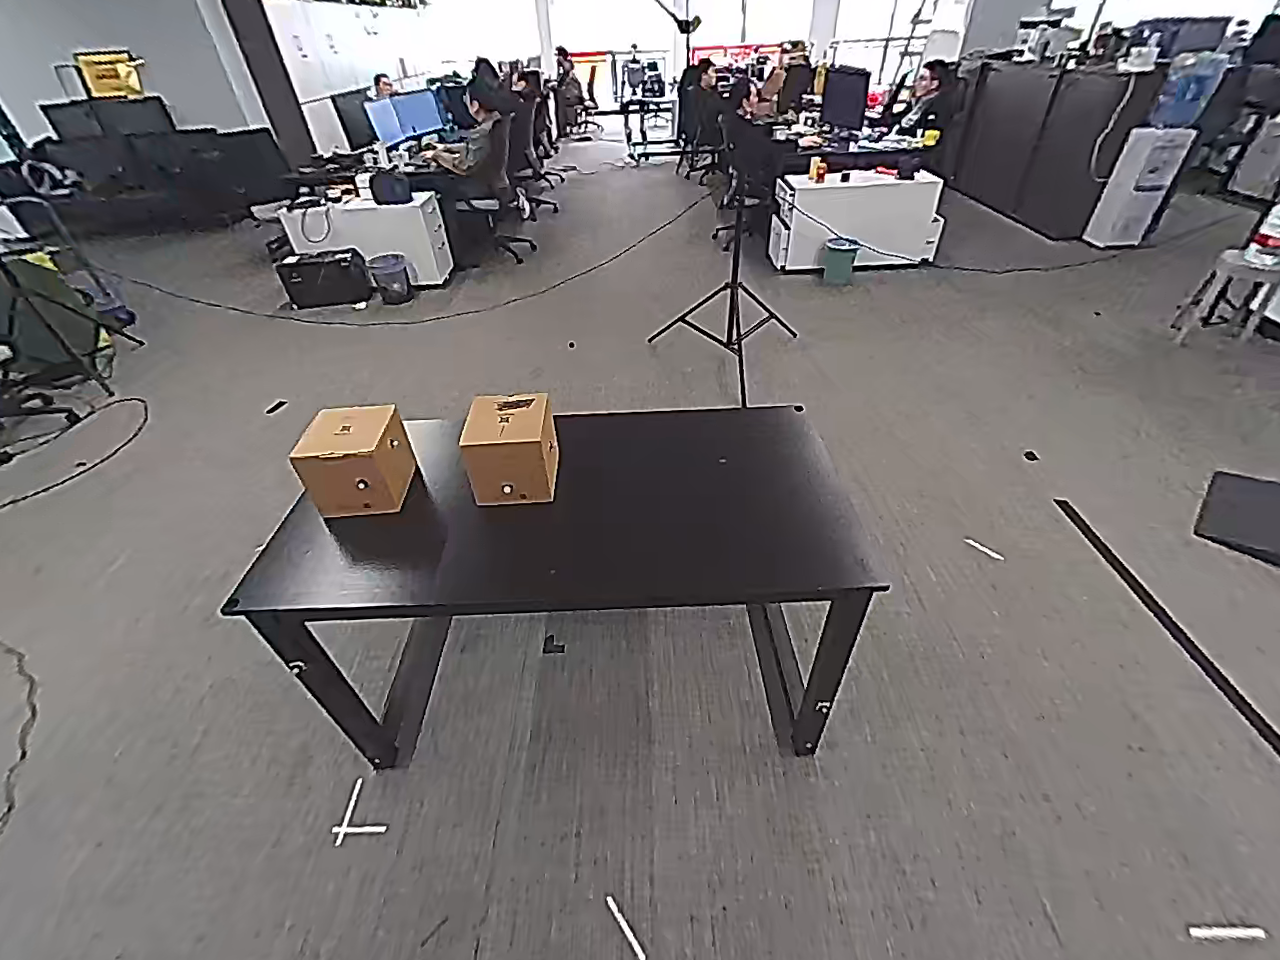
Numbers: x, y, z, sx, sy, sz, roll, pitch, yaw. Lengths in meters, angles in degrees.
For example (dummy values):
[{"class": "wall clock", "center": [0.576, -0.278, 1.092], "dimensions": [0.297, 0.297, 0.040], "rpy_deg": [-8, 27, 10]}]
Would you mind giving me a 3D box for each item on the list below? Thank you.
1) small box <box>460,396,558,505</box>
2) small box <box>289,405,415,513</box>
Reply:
[{"class": "small box", "center": [-0.273, -0.065, 1.173], "dimensions": [0.168, 0.176, 0.179], "rpy_deg": [-3, 41, 0]}, {"class": "small box", "center": [-0.605, -0.041, 1.164], "dimensions": [0.168, 0.176, 0.179], "rpy_deg": [-4, 39, -3]}]
